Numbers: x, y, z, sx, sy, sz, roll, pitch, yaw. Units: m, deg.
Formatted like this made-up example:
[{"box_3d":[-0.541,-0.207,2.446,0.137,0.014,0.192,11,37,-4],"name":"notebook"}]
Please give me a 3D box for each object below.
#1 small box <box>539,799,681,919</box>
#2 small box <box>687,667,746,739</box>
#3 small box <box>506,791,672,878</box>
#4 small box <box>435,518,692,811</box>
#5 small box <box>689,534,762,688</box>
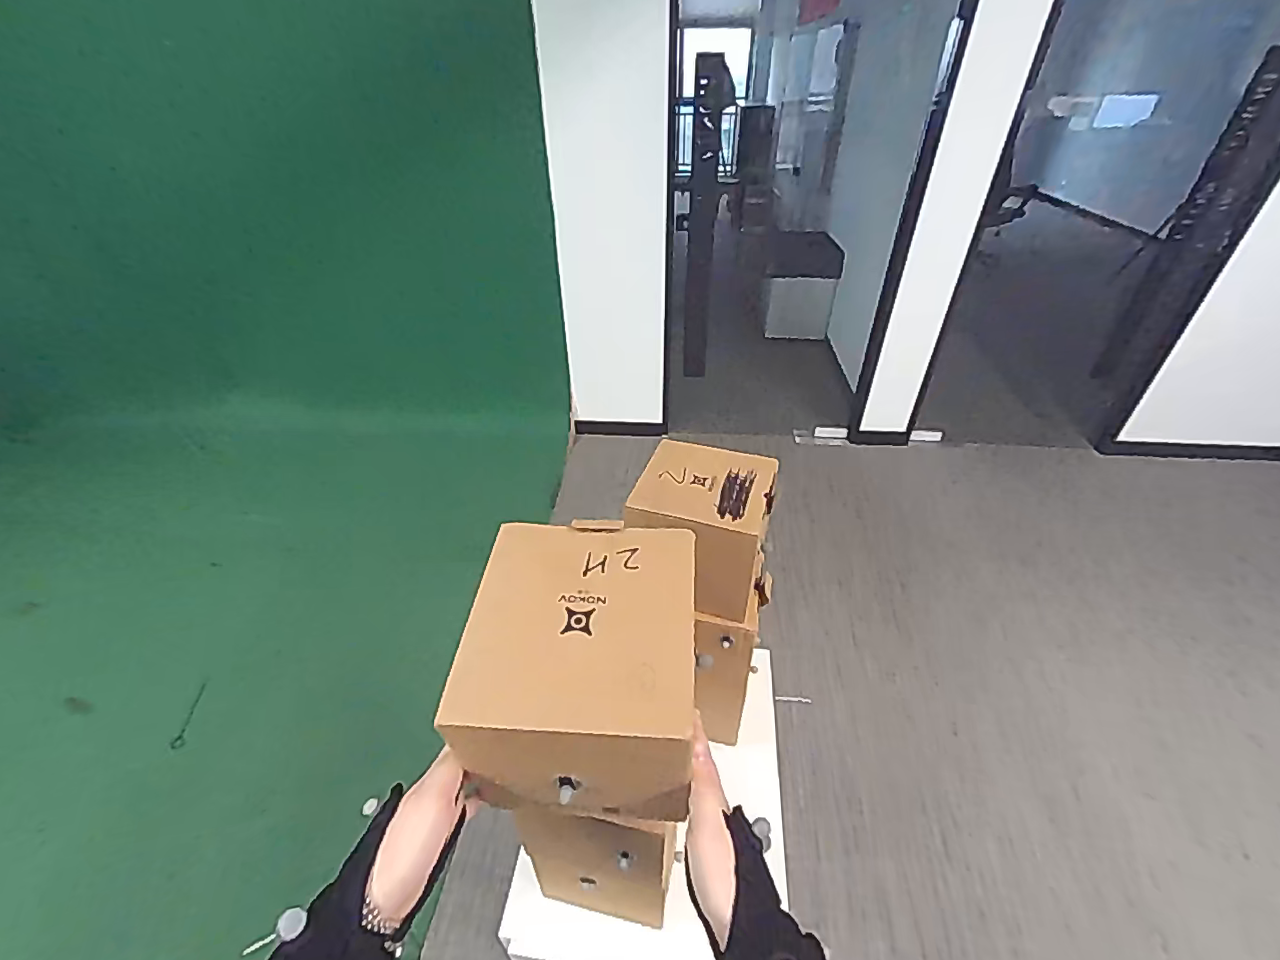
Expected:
[{"box_3d":[-0.039,0.485,0.769,0.179,0.176,0.168,9,38,10],"name":"small box"},{"box_3d":[0.098,0.333,0.966,0.179,0.176,0.168,8,39,12],"name":"small box"},{"box_3d":[-0.042,0.357,0.668,0.179,0.176,0.168,7,37,10],"name":"small box"},{"box_3d":[-0.042,0.154,0.453,0.168,0.176,0.179,2,42,4],"name":"small box"},{"box_3d":[0.092,0.206,0.864,0.179,0.176,0.168,9,39,11],"name":"small box"}]
